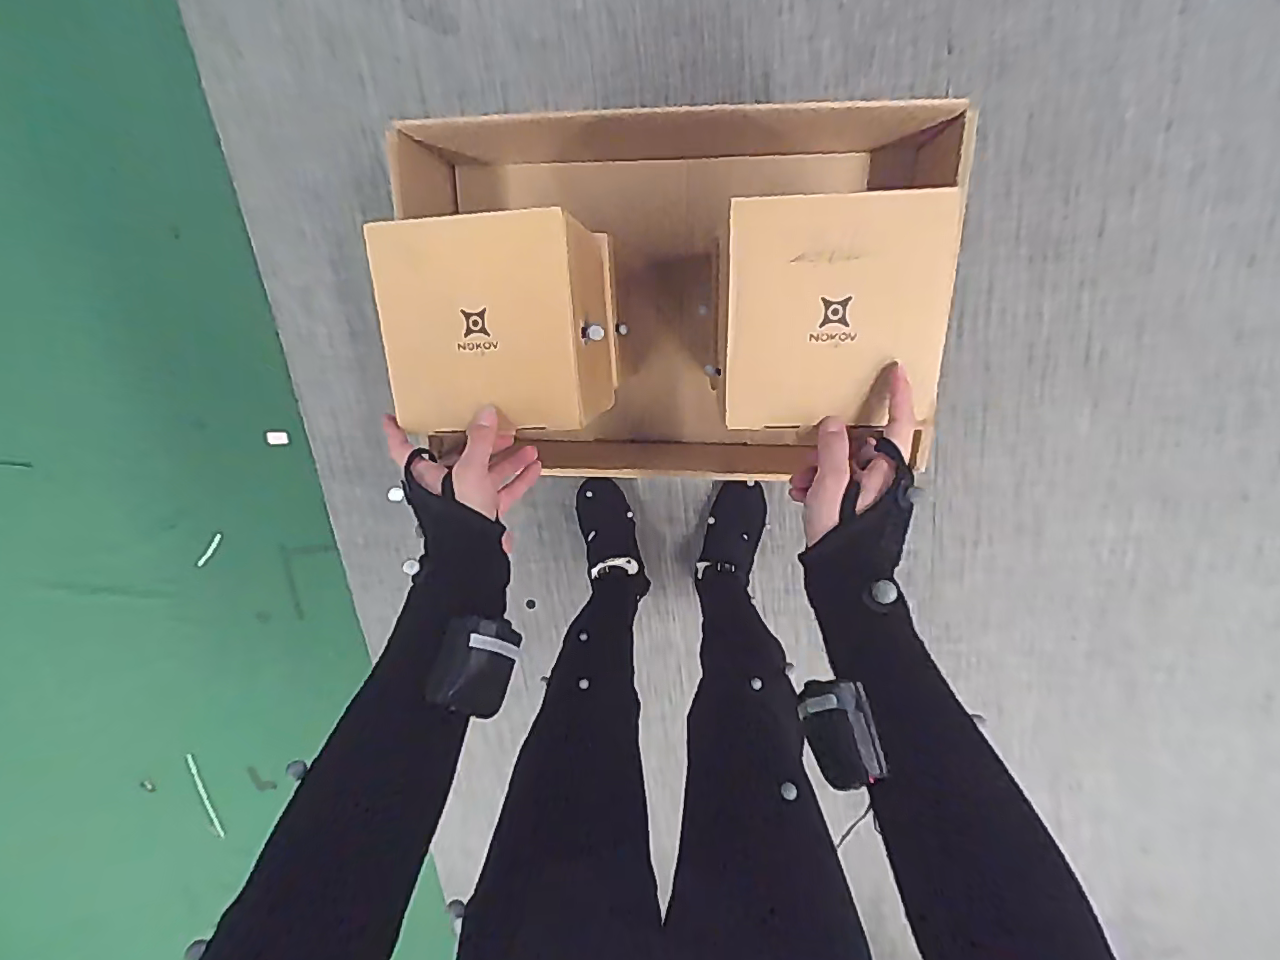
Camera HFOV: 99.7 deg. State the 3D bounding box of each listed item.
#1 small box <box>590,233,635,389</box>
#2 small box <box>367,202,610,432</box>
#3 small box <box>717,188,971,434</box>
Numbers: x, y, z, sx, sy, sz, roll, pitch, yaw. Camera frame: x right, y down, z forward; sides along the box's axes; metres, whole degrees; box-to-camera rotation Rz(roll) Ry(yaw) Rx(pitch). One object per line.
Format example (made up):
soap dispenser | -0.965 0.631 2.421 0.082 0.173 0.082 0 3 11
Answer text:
small box | -0.103 -0.200 0.669 0.179 0.176 0.168 -1 105 5
small box | -0.124 -0.147 0.515 0.168 0.176 0.179 -1 105 6
small box | 0.158 -0.143 0.482 0.168 0.176 0.179 1 105 5
